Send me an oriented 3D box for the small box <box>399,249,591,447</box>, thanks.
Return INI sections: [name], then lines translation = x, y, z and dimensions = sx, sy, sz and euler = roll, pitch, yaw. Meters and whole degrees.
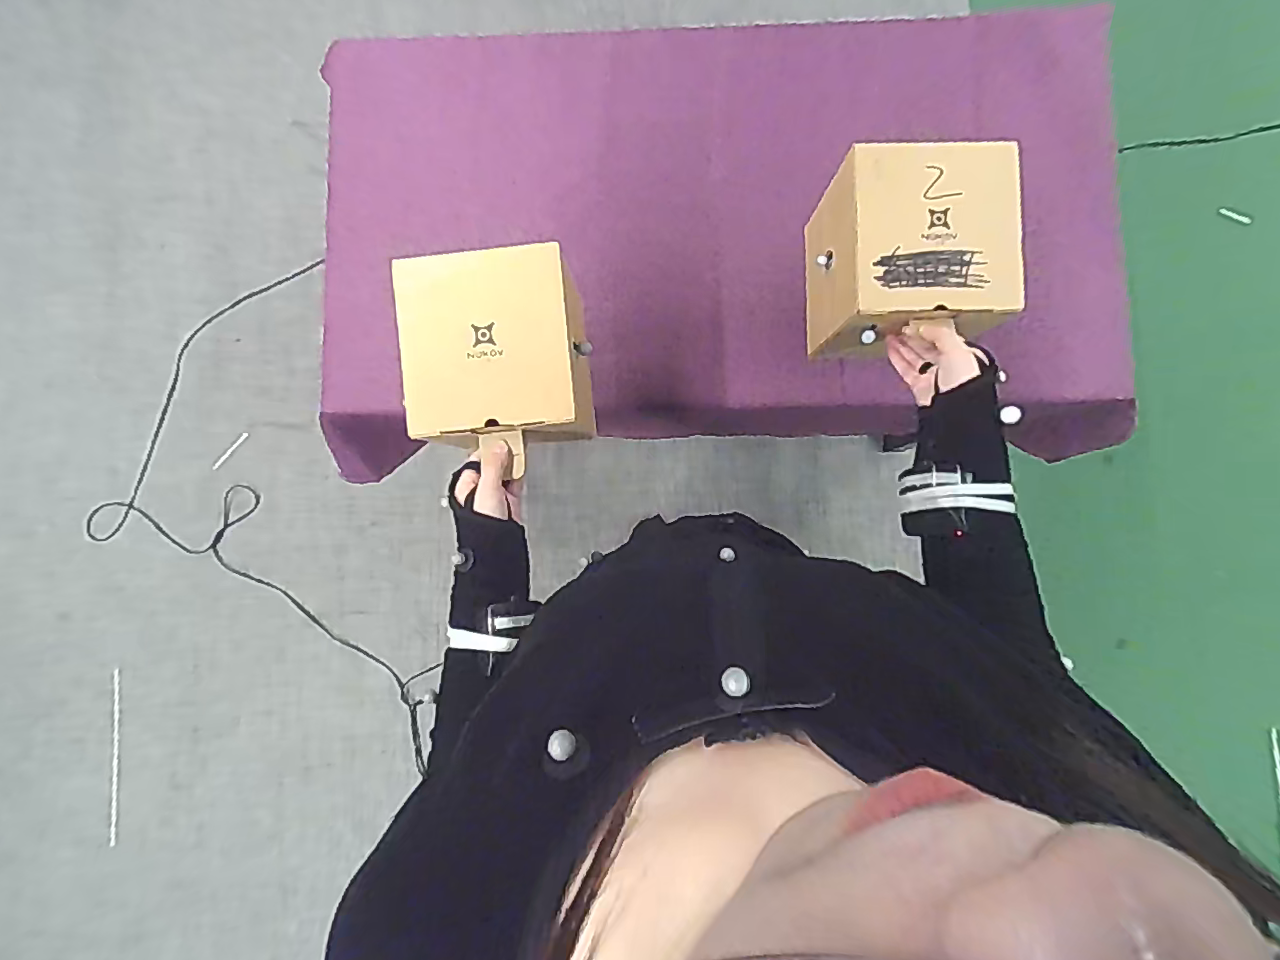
[small box]
translation = -0.152, -0.136, 0.616
dimensions = 0.168, 0.176, 0.179
euler = -6, 90, 2
